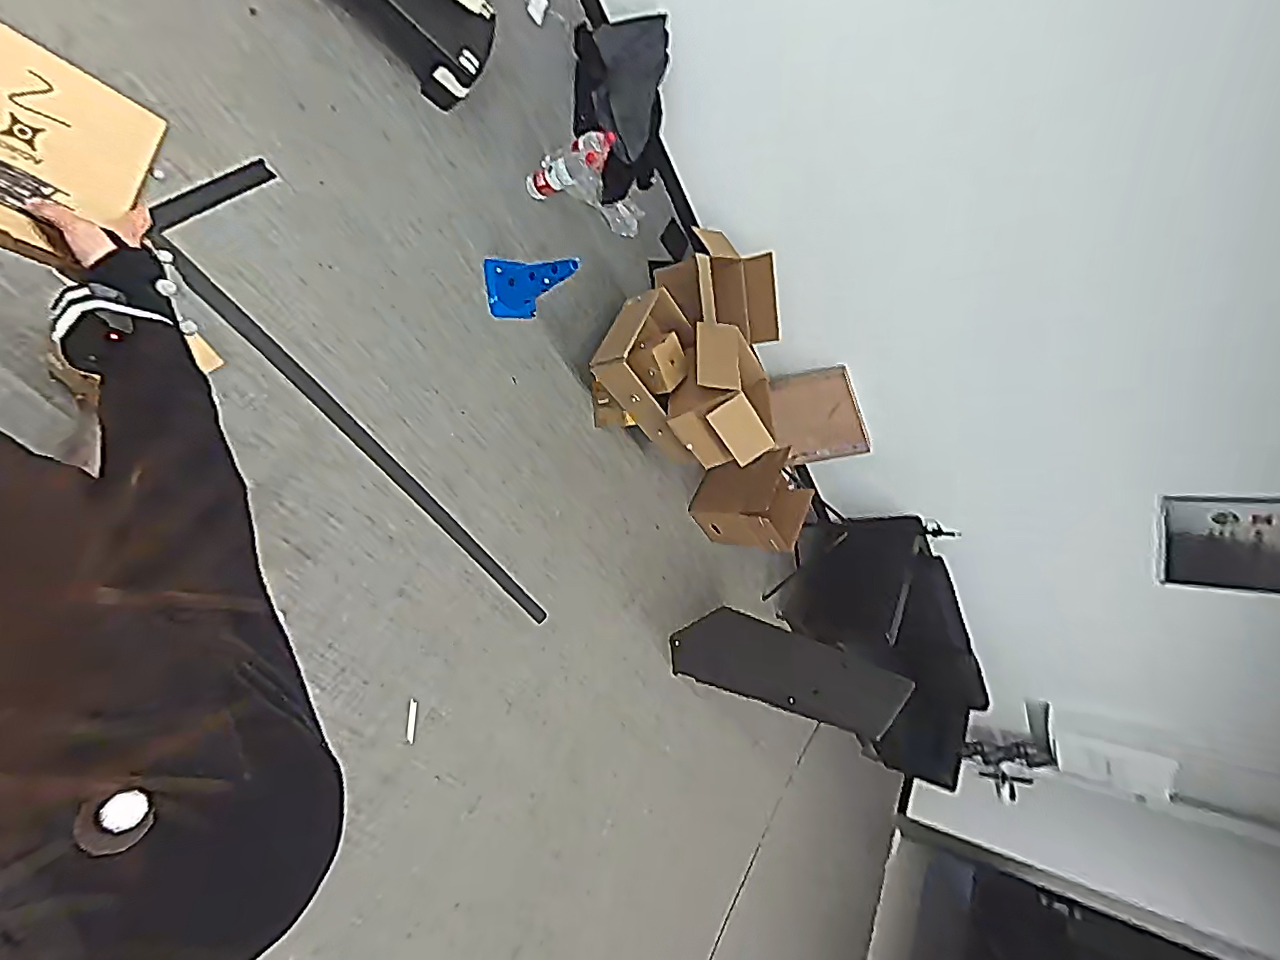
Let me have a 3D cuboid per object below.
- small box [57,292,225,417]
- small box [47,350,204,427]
[{"bbox_3d":[-0.969,-0.239,1.050,0.179,0.176,0.168,-52,126,-33],"label":"small box"},{"bbox_3d":[-1.094,-0.229,1.155,0.179,0.176,0.168,55,53,-32],"label":"small box"}]
